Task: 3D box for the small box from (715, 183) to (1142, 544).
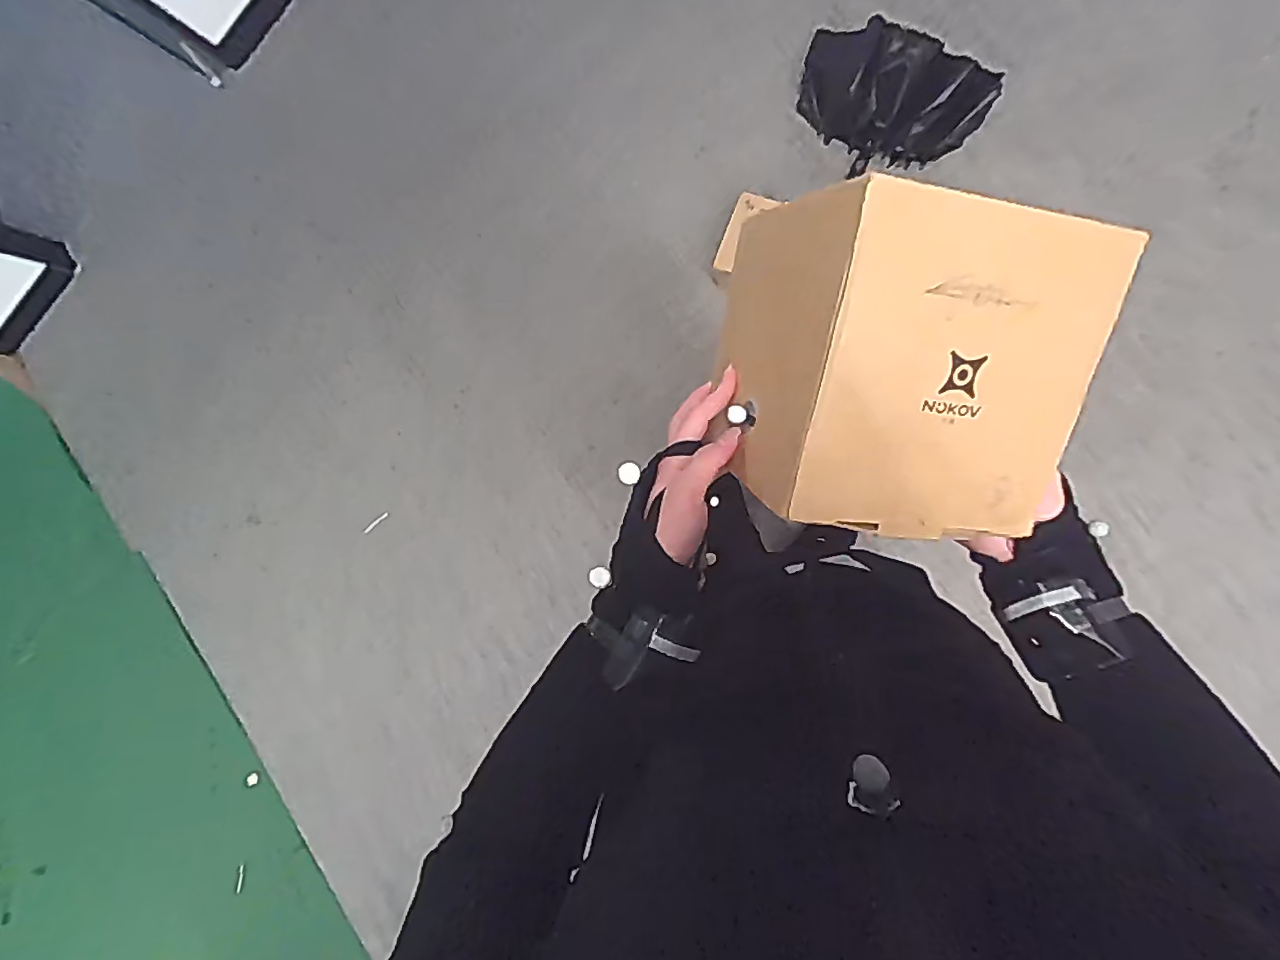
[{"bbox_3d":[0.159,-0.073,0.365,0.168,0.176,0.179,4,106,-12],"label":"small box"}]
